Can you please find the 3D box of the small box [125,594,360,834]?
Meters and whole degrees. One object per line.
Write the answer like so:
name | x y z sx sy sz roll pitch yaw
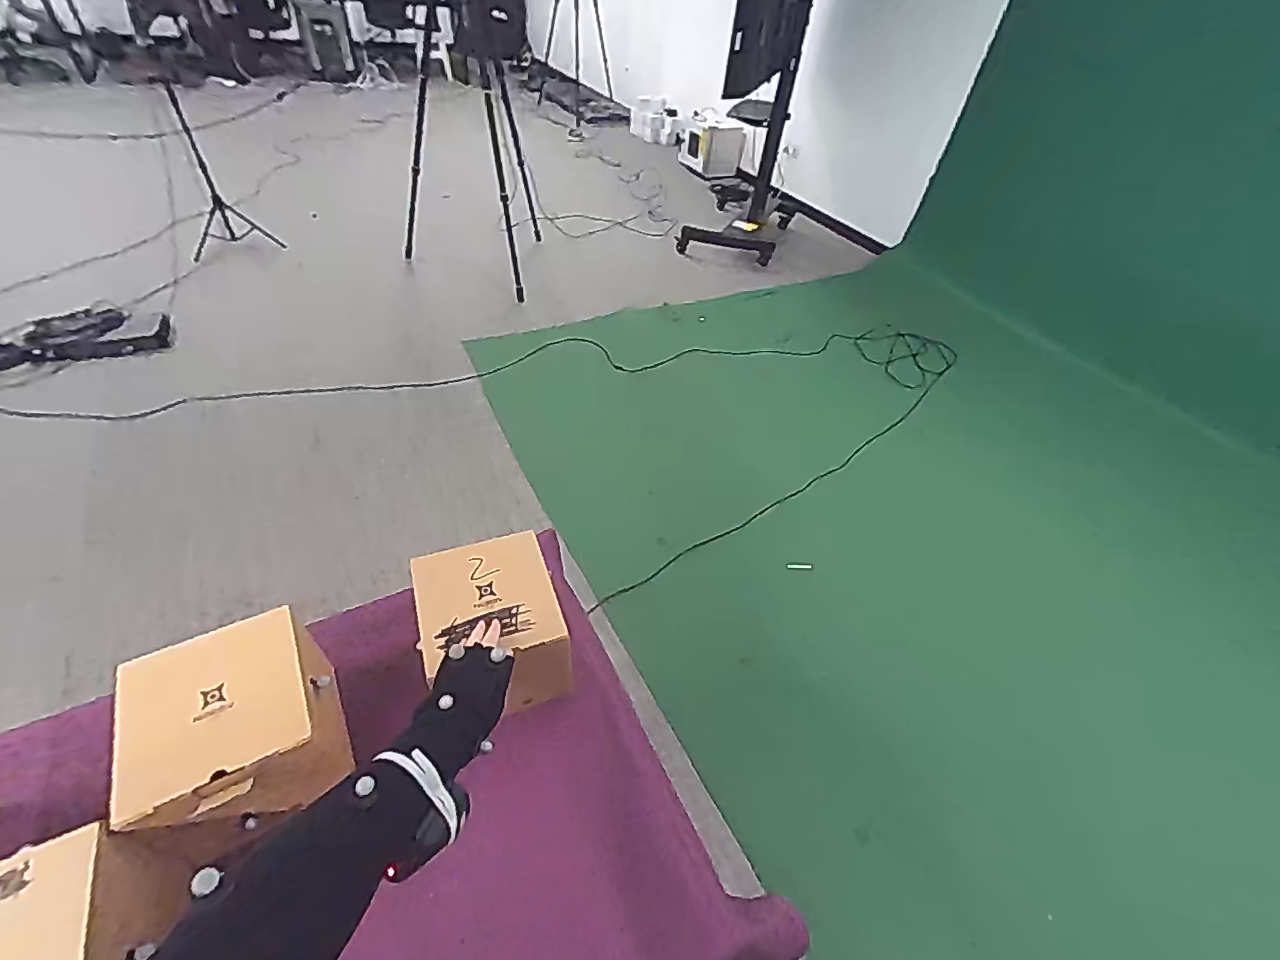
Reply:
small box | -0.450 0.272 0.631 0.168 0.176 0.179 -21 54 -24
